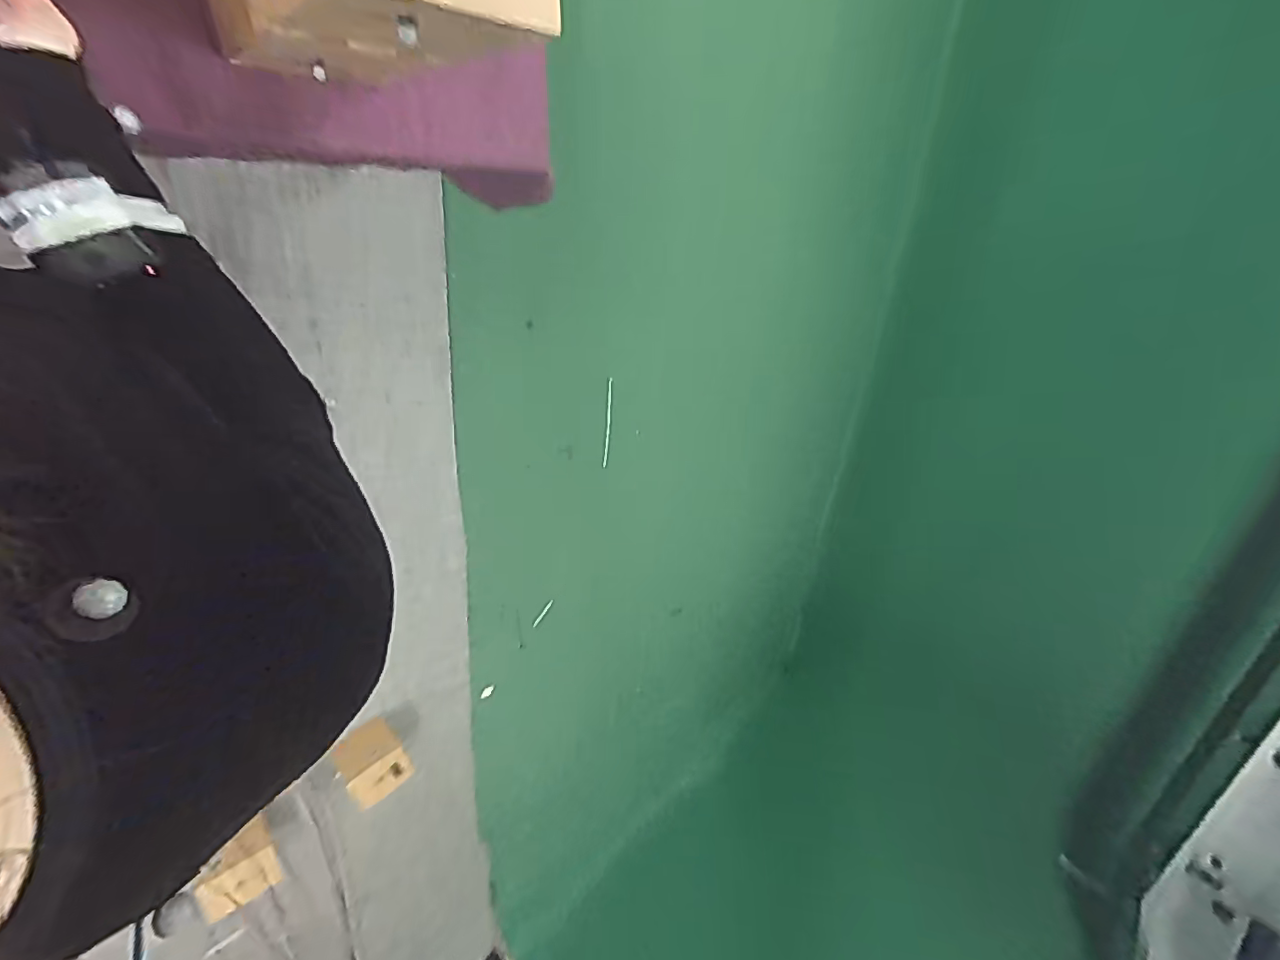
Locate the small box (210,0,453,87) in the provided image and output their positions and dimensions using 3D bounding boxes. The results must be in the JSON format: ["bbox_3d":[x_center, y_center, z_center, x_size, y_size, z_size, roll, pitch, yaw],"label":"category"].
[{"bbox_3d":[-0.304,-0.498,0.511,0.168,0.176,0.179,-25,127,-40],"label":"small box"}]

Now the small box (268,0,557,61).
[{"bbox_3d":[-0.186,-0.442,0.411,0.179,0.176,0.168,-24,127,-39],"label":"small box"}]

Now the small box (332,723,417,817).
[{"bbox_3d":[-0.875,0.948,1.783,0.179,0.176,0.168,-31,130,-35],"label":"small box"}]

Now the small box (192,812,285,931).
[{"bbox_3d":[-1.153,1.111,1.549,0.179,0.176,0.168,-18,123,-43],"label":"small box"}]
